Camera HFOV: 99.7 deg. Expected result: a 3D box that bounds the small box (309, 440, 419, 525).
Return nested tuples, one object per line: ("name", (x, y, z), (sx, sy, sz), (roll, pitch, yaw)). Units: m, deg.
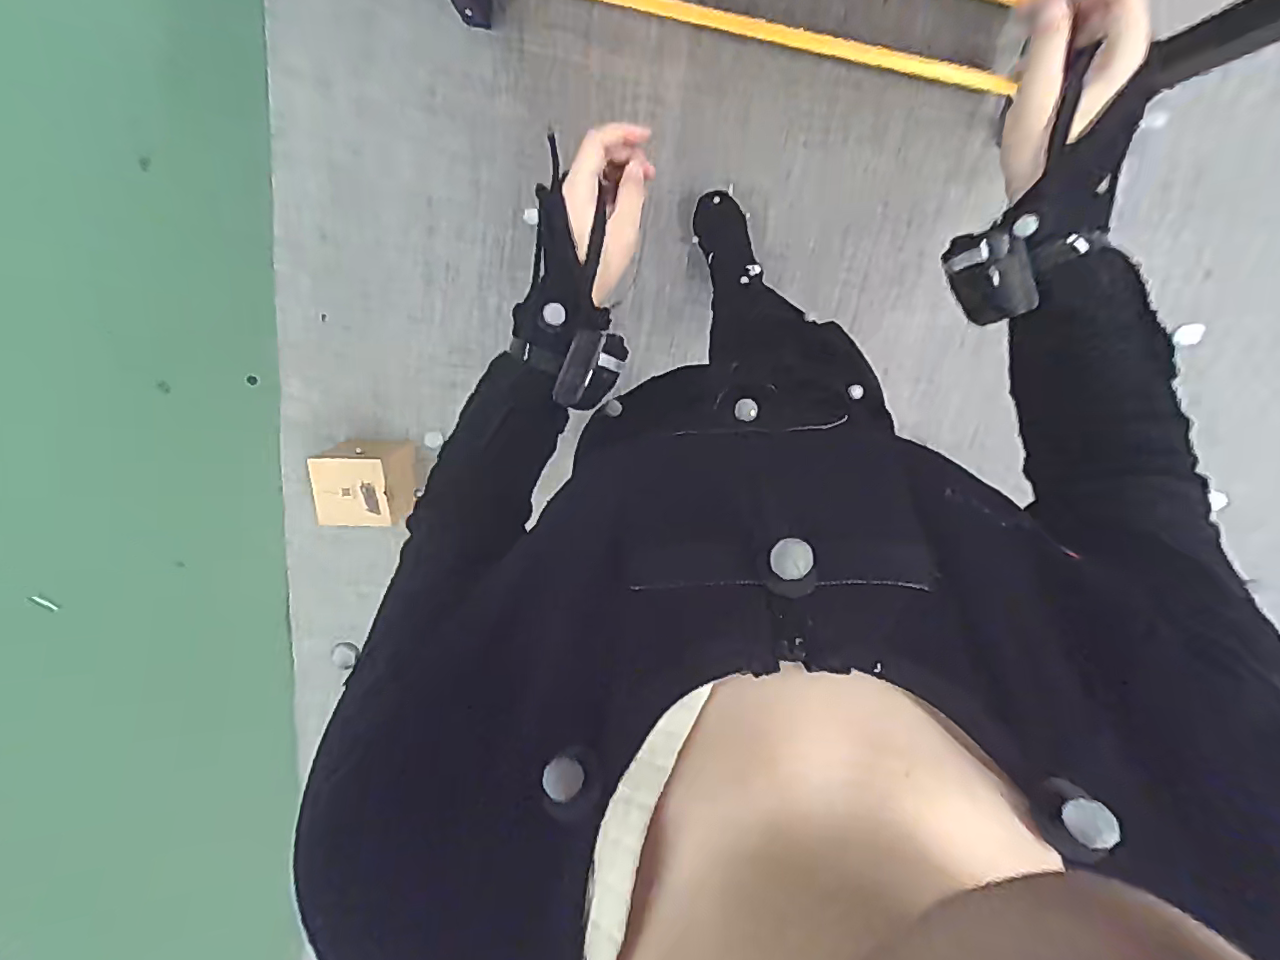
("small box", (-0.653, 0.001, 1.306), (0.179, 0.176, 0.168), (1, 108, 2))
